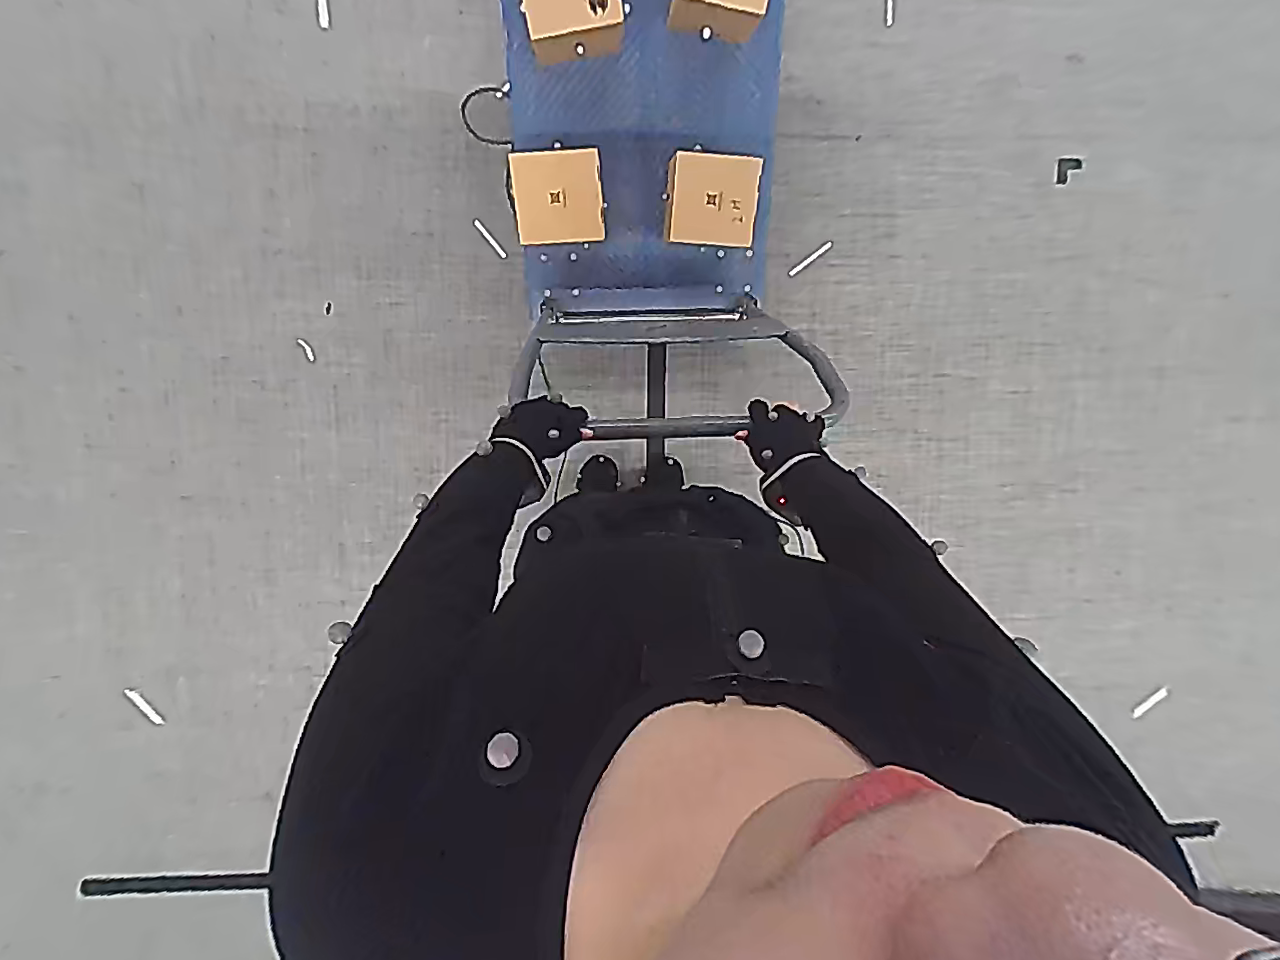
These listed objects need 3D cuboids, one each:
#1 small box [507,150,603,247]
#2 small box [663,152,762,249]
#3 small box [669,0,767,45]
[{"bbox_3d":[-0.171,-0.591,1.150,0.179,0.176,0.168,-6,114,-3],"label":"small box"},{"bbox_3d":[0.146,-0.595,1.168,0.179,0.176,0.168,2,114,-4],"label":"small box"},{"bbox_3d":[0.153,-0.959,1.008,0.168,0.176,0.179,8,114,-7],"label":"small box"}]
